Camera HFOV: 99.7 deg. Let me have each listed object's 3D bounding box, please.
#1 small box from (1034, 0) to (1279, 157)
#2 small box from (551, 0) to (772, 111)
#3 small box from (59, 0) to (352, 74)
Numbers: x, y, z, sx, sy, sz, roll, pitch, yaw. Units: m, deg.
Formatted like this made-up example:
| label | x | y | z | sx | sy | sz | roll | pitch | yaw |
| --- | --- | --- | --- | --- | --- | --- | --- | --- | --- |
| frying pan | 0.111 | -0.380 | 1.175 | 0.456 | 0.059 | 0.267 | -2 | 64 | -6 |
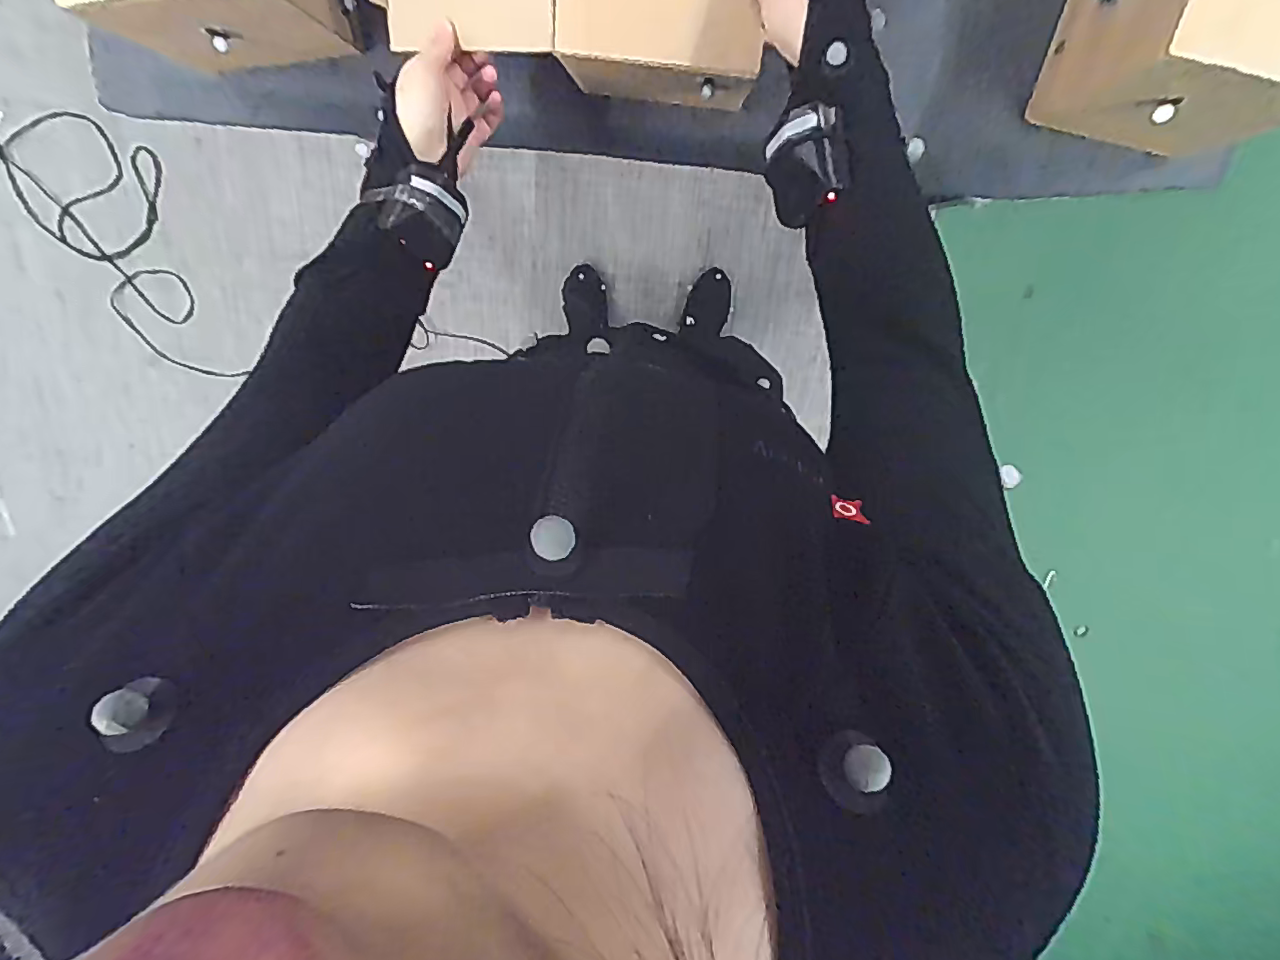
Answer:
| label | x | y | z | sx | sy | sz | roll | pitch | yaw |
| --- | --- | --- | --- | --- | --- | --- | --- | --- | --- |
| small box | 0.508 | -0.411 | 0.481 | 0.179 | 0.176 | 0.168 | 11 | 108 | -2 |
| small box | 0.025 | -0.444 | 0.480 | 0.179 | 0.176 | 0.168 | 6 | 117 | 0 |
| small box | -0.385 | -0.486 | 0.476 | 0.179 | 0.176 | 0.168 | -4 | 113 | 4 |
